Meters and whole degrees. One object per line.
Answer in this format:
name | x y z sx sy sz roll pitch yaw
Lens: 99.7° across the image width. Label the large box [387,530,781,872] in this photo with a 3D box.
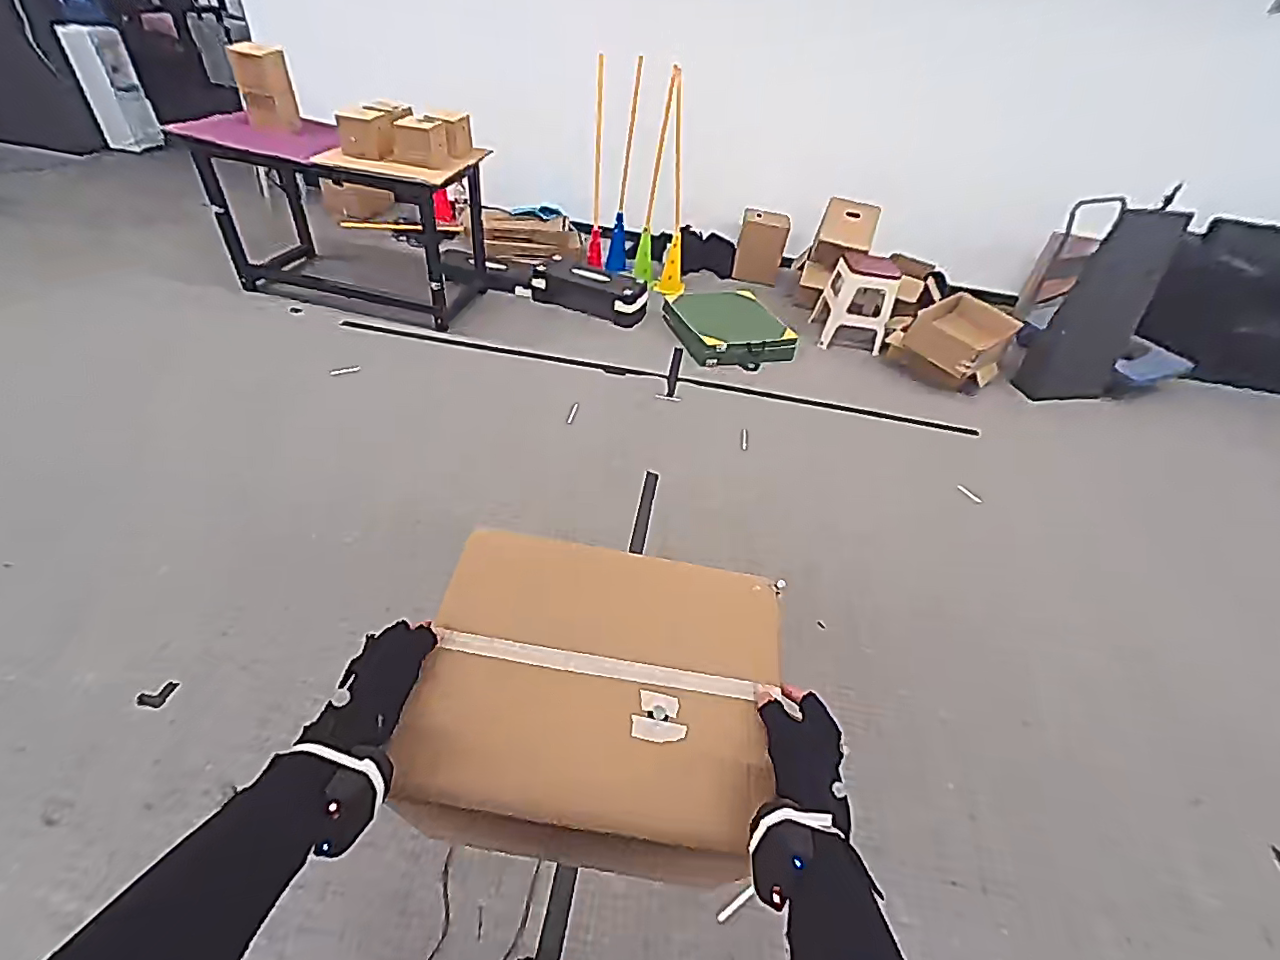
large box | -0.058 0.307 0.739 0.408 0.320 0.320 10 50 -1
